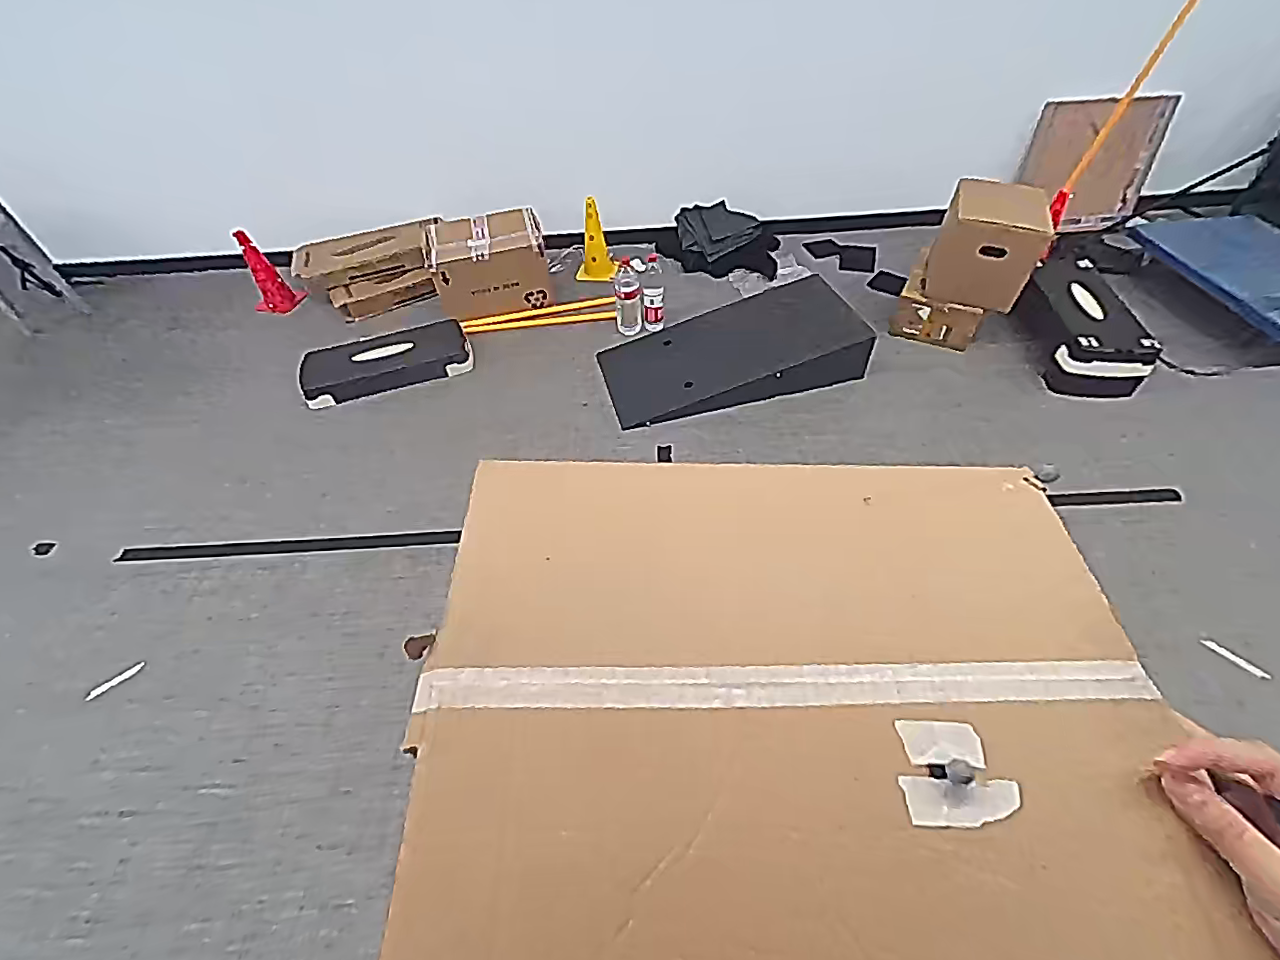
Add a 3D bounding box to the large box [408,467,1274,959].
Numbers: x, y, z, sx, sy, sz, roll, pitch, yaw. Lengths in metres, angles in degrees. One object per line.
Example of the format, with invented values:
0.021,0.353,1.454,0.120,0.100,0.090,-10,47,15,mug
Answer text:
0.082,0.204,0.434,0.408,0.320,0.320,1,54,-4,large box
